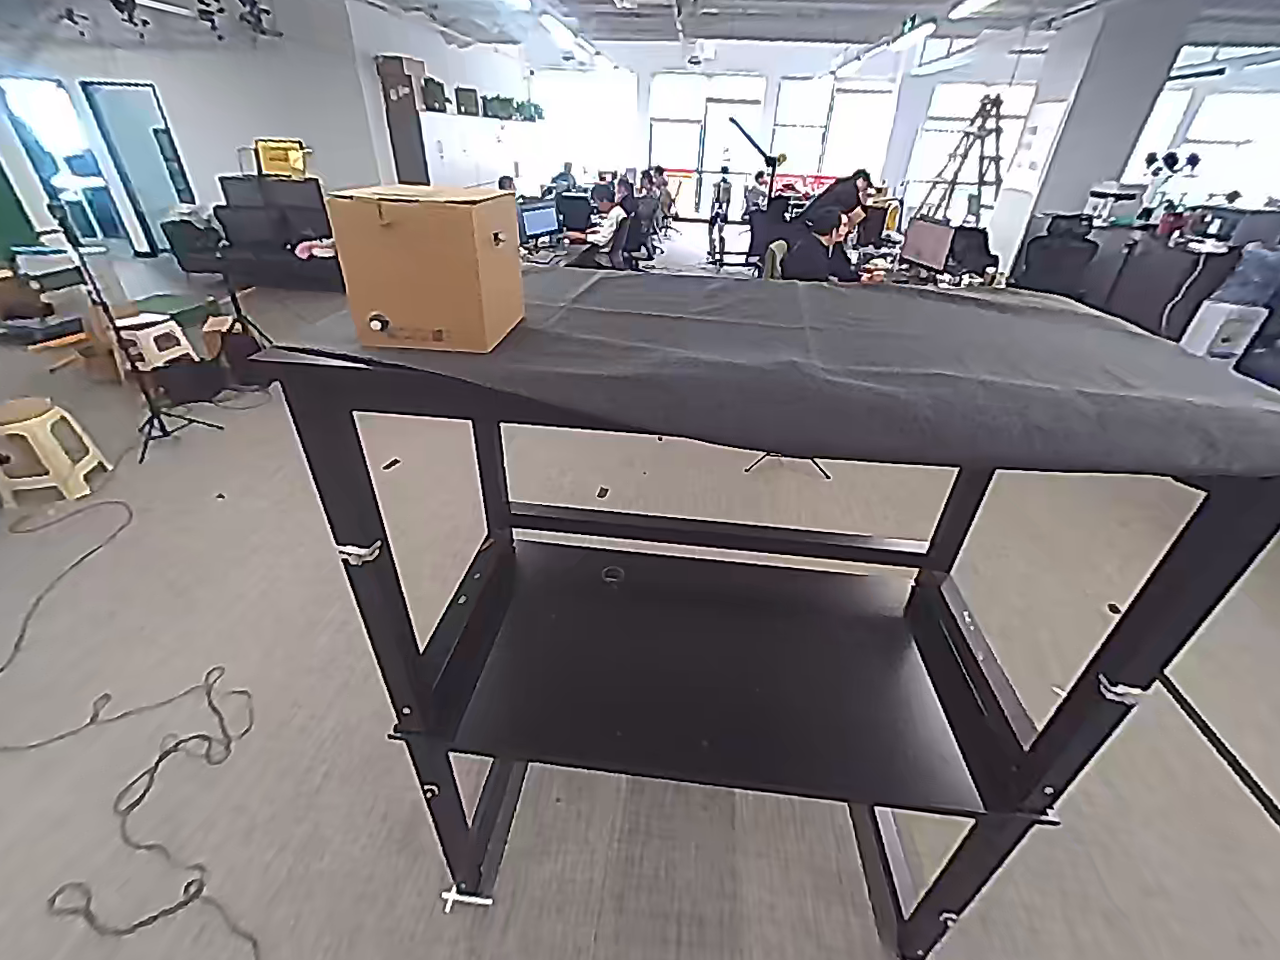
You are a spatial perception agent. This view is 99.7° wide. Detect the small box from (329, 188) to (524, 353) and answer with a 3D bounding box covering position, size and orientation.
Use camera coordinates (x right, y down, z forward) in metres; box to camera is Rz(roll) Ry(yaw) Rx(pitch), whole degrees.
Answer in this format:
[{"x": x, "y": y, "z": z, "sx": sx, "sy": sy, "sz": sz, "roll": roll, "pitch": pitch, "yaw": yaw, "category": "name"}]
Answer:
[{"x": -0.252, "y": -0.271, "z": 0.692, "sx": 0.168, "sy": 0.176, "sz": 0.179, "roll": 5, "pitch": 32, "yaw": 3, "category": "small box"}]
